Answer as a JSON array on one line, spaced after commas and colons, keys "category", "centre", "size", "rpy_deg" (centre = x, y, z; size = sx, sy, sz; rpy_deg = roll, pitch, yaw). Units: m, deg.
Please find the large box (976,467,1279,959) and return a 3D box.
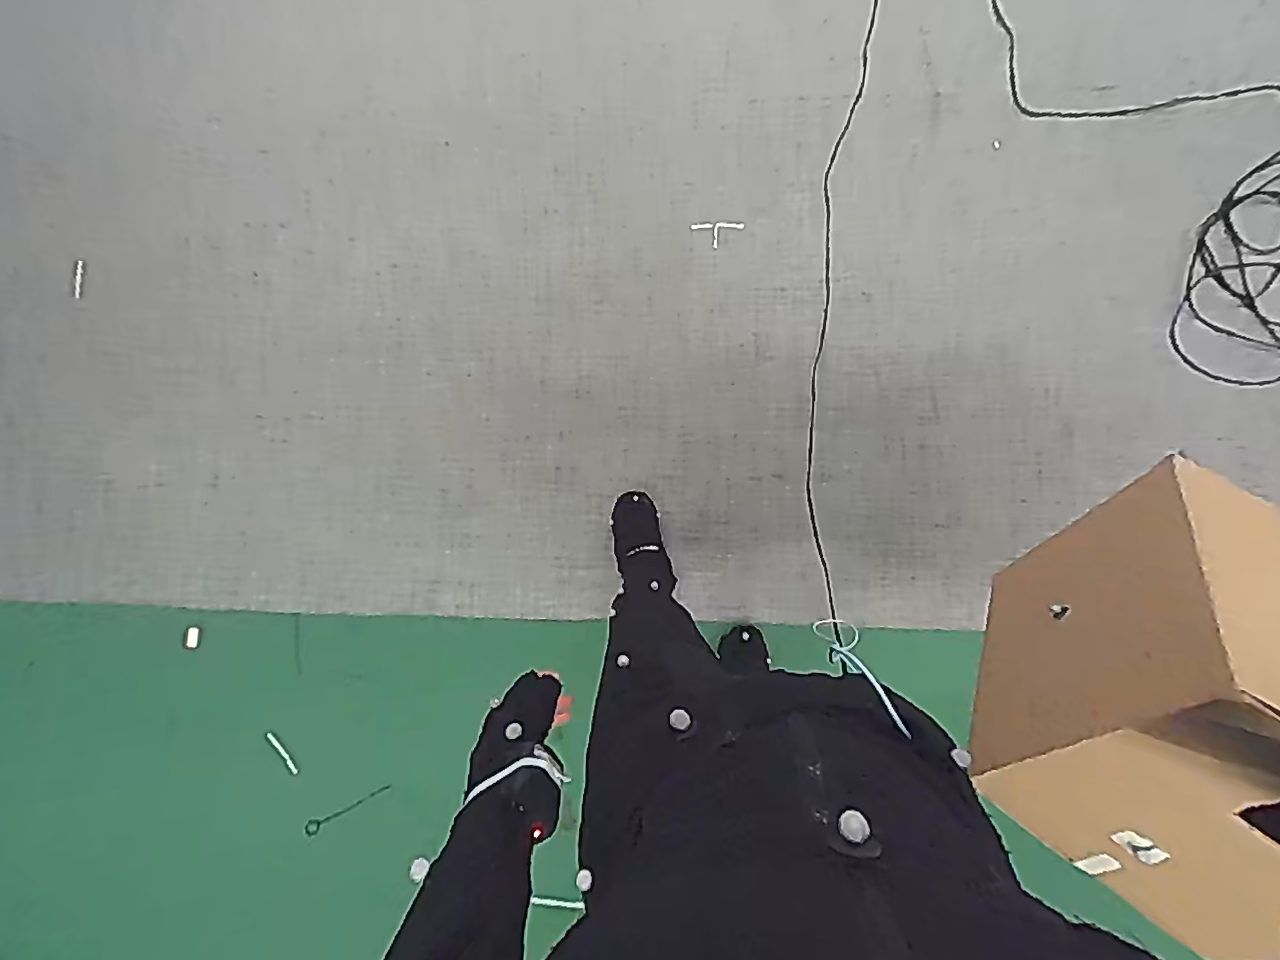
[{"category": "large box", "centre": [0.670, 0.264, 0.661], "size": [0.320, 0.320, 0.408], "rpy_deg": [36, 46, 10]}]
